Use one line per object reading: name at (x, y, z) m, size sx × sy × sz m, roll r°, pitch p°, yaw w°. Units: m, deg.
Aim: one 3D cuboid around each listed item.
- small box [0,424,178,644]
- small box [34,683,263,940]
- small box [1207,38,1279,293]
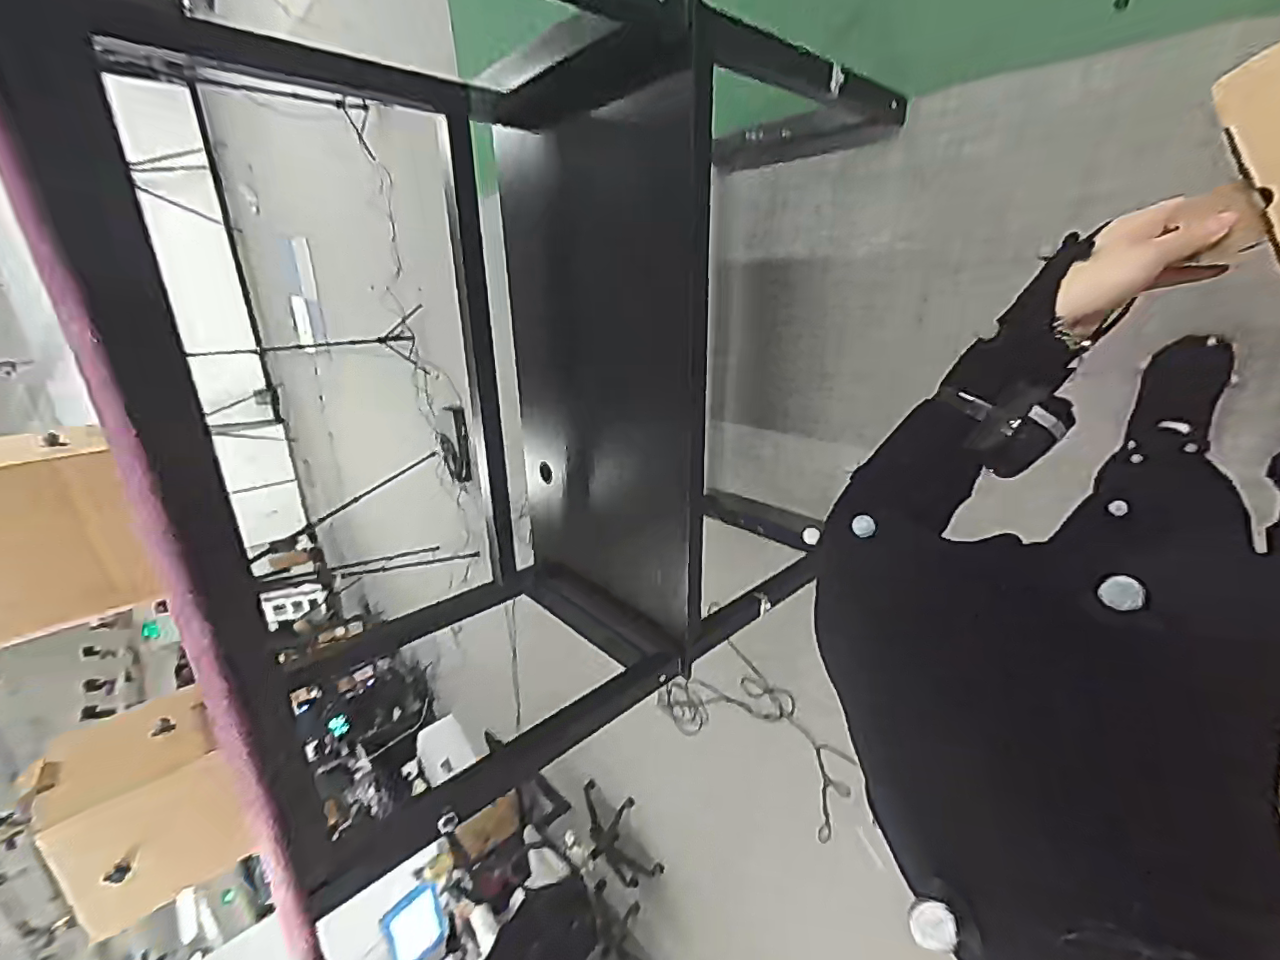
small box at (-0.622, 0.050, 0.576) m, size 0.168 × 0.176 × 0.179 m, roll 20°, pitch 118°, yaw 46°
small box at (-0.602, 0.397, 0.681) m, size 0.168 × 0.176 × 0.179 m, roll 18°, pitch 117°, yaw 44°
small box at (0.480, -0.199, 0.297) m, size 0.179 × 0.176 × 0.168 m, roll -23°, pitch 79°, yaw 58°
